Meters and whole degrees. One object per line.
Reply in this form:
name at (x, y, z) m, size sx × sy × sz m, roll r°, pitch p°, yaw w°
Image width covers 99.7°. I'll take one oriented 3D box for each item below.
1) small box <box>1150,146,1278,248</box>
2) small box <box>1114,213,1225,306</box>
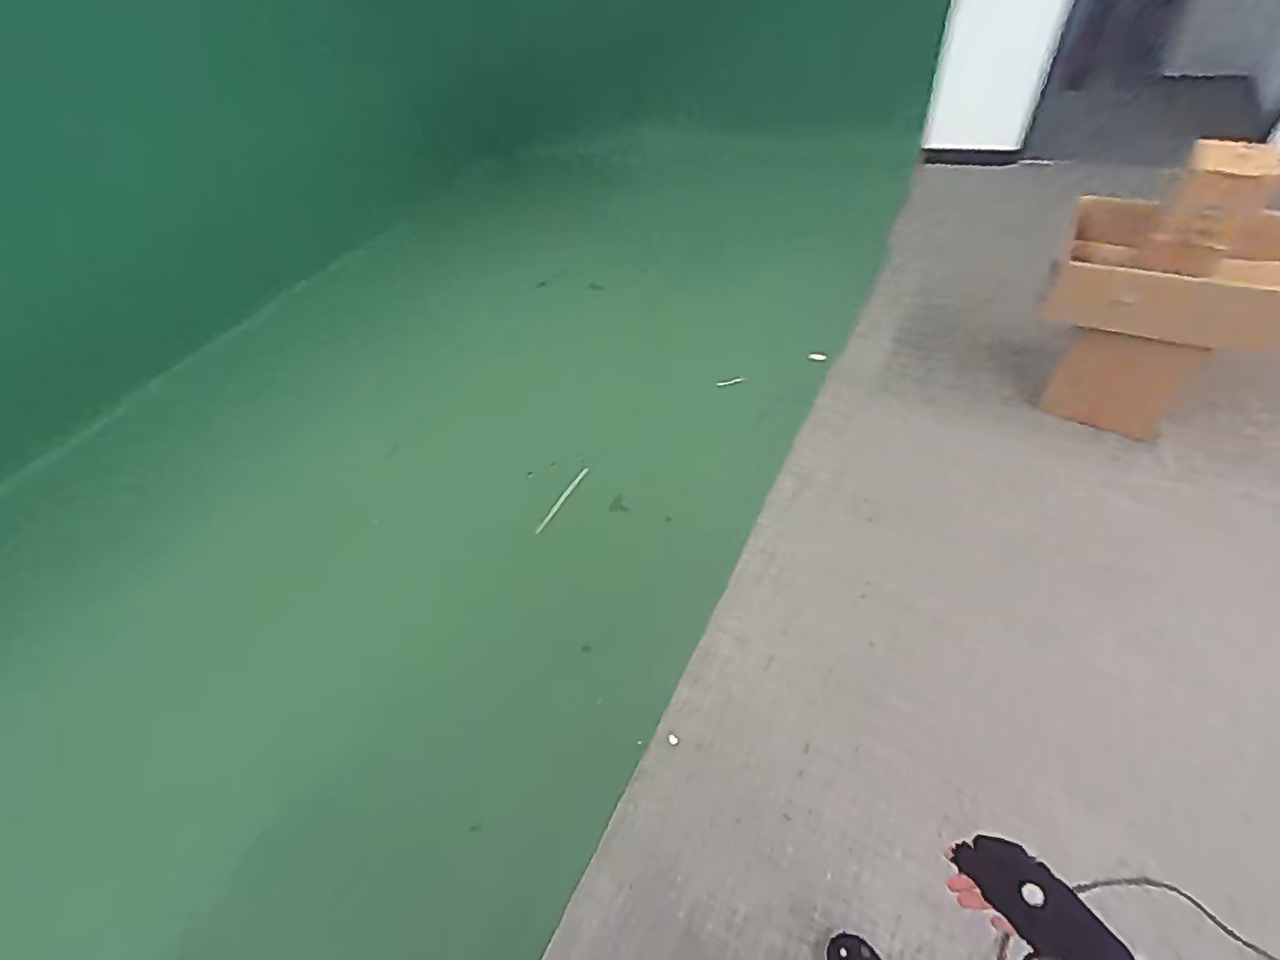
small box at (1.456, -0.720, 1.381) m, size 0.168 × 0.176 × 0.179 m, roll 24°, pitch 59°, yaw 24°
small box at (1.467, -0.611, 1.503) m, size 0.168 × 0.176 × 0.179 m, roll 25°, pitch 57°, yaw 24°
